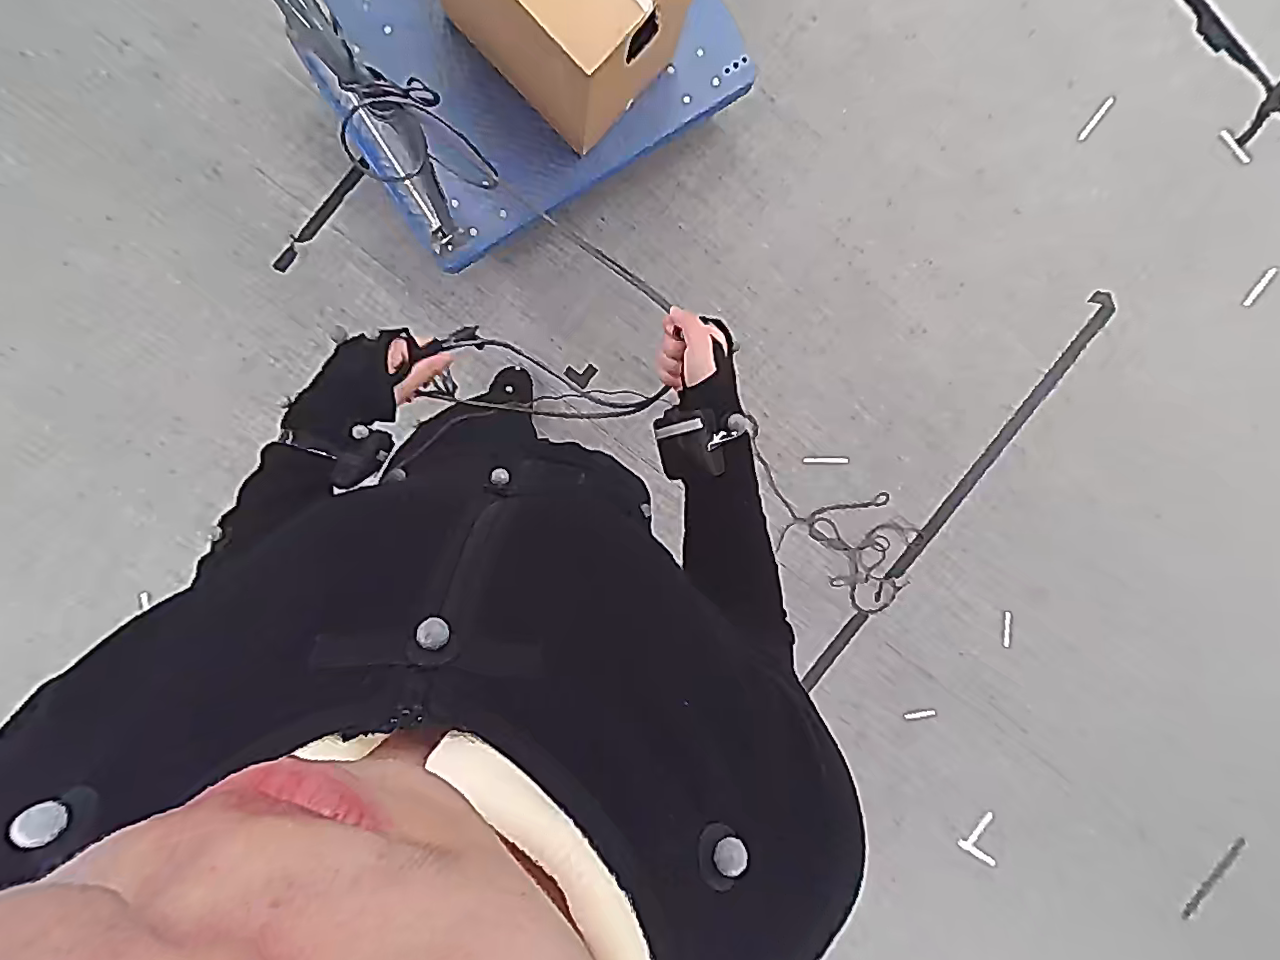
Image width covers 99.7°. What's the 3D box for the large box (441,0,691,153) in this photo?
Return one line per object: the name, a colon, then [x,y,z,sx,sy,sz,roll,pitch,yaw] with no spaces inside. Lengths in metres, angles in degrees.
large box: [-0.150,-0.954,1.038,0.408,0.320,0.320,42,91,-12]
